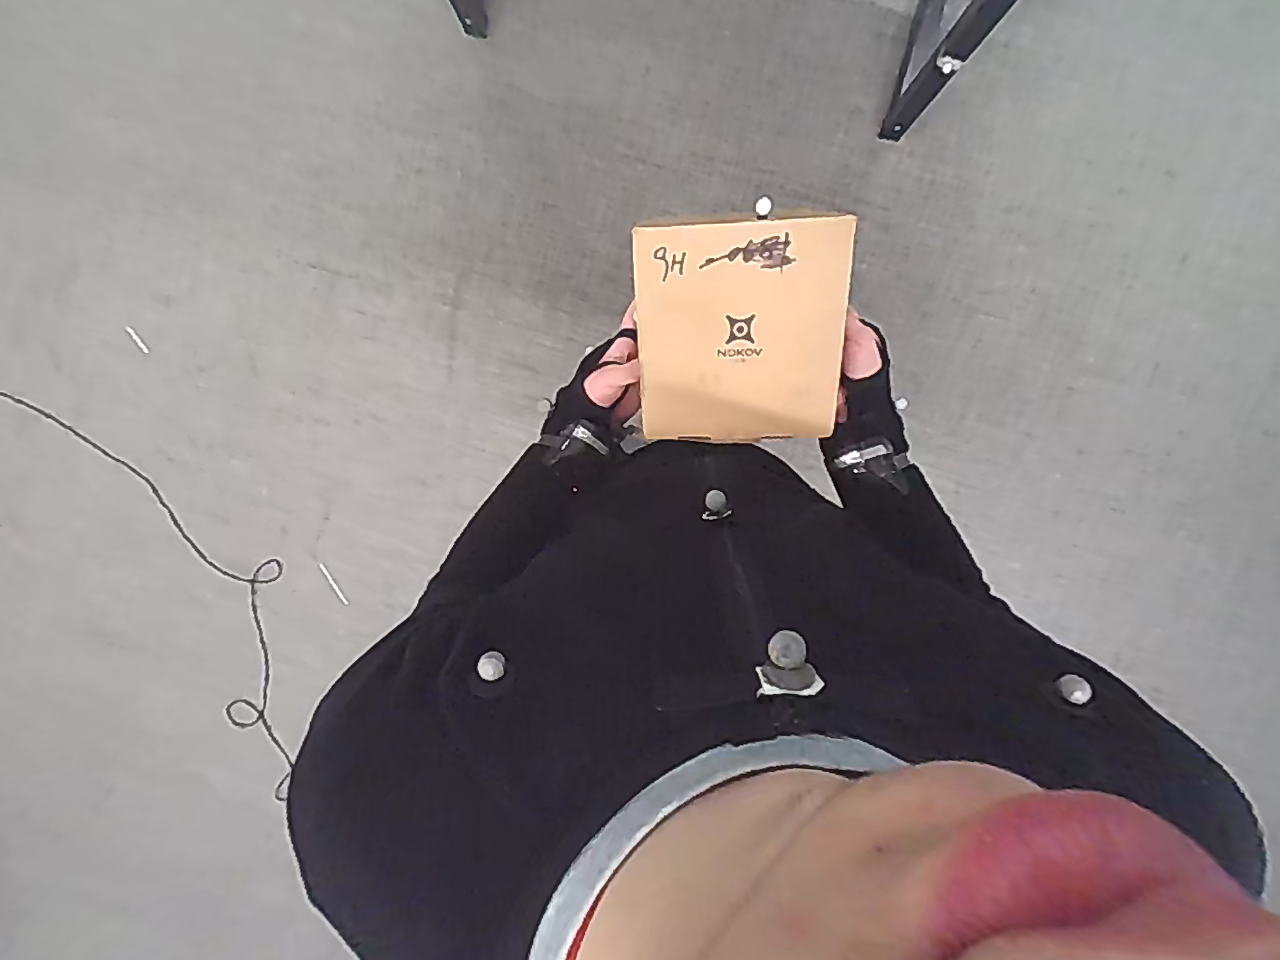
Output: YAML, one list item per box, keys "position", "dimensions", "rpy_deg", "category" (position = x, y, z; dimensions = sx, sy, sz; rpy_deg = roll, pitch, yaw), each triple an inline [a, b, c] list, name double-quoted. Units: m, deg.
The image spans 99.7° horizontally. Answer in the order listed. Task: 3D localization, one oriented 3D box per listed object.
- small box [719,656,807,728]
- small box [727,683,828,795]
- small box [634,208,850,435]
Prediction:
- position: [0.349, 0.642, 1.569]
  dimensions: [0.179, 0.176, 0.168]
  rpy_deg: [27, 95, -2]
  category: "small box"
- position: [0.348, 0.662, 1.405]
  dimensions: [0.179, 0.176, 0.168]
  rpy_deg: [28, 95, -2]
  category: "small box"
- position: [0.086, -0.157, 0.519]
  dimensions: [0.168, 0.176, 0.179]
  rpy_deg: [0, 119, 5]
  category: "small box"
